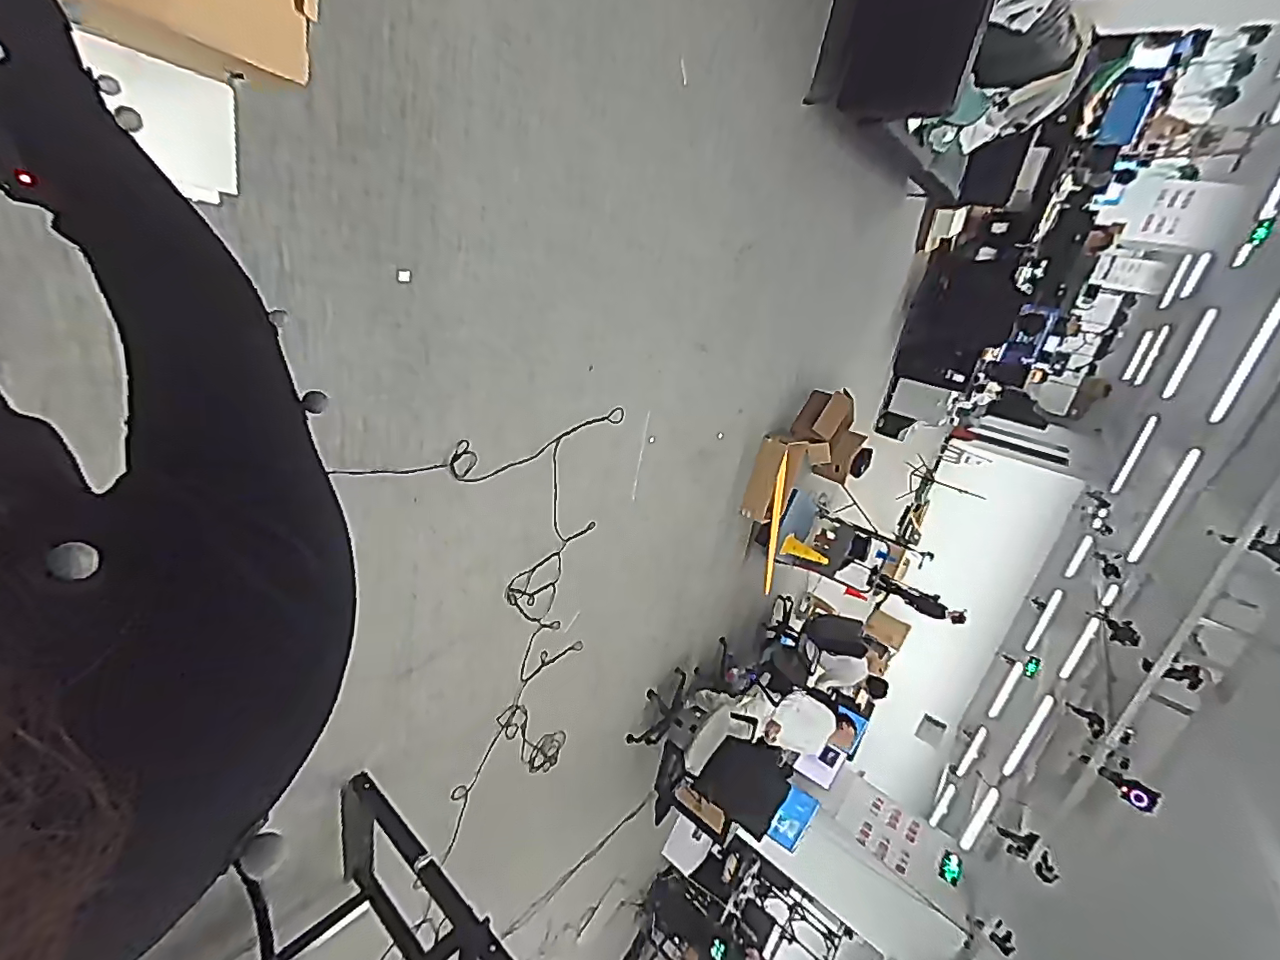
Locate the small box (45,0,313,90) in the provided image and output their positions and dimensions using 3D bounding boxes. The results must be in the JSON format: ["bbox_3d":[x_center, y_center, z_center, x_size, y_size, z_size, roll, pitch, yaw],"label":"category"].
[{"bbox_3d":[-0.441,-0.504,0.518,0.179,0.176,0.168,-10,119,-50],"label":"small box"}]
